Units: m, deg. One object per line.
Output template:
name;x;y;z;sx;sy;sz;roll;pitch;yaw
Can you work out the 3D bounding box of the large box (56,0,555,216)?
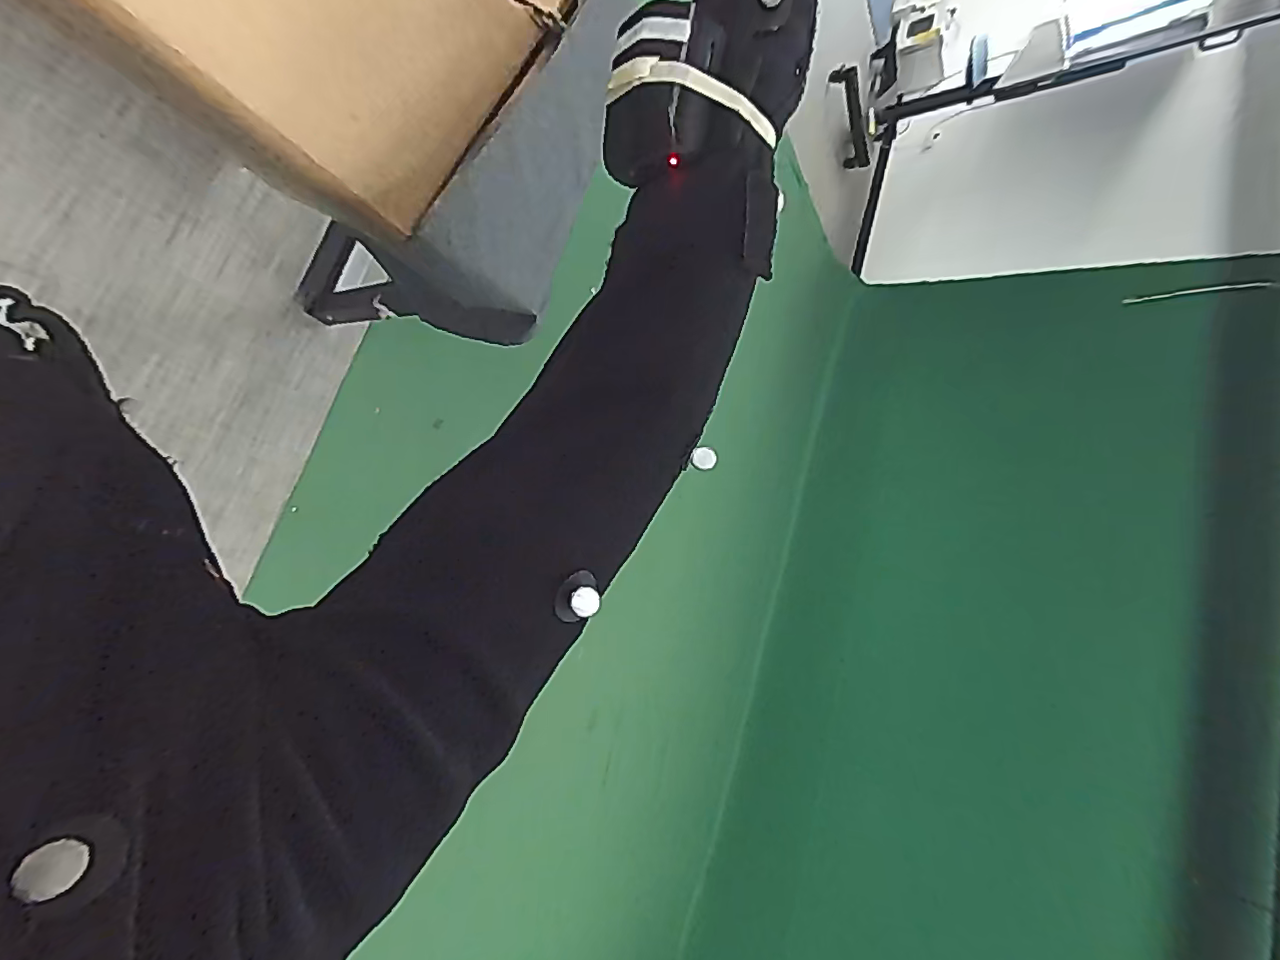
large box;-0.233;-0.394;0.271;0.320;0.408;0.320;-55;139;2
